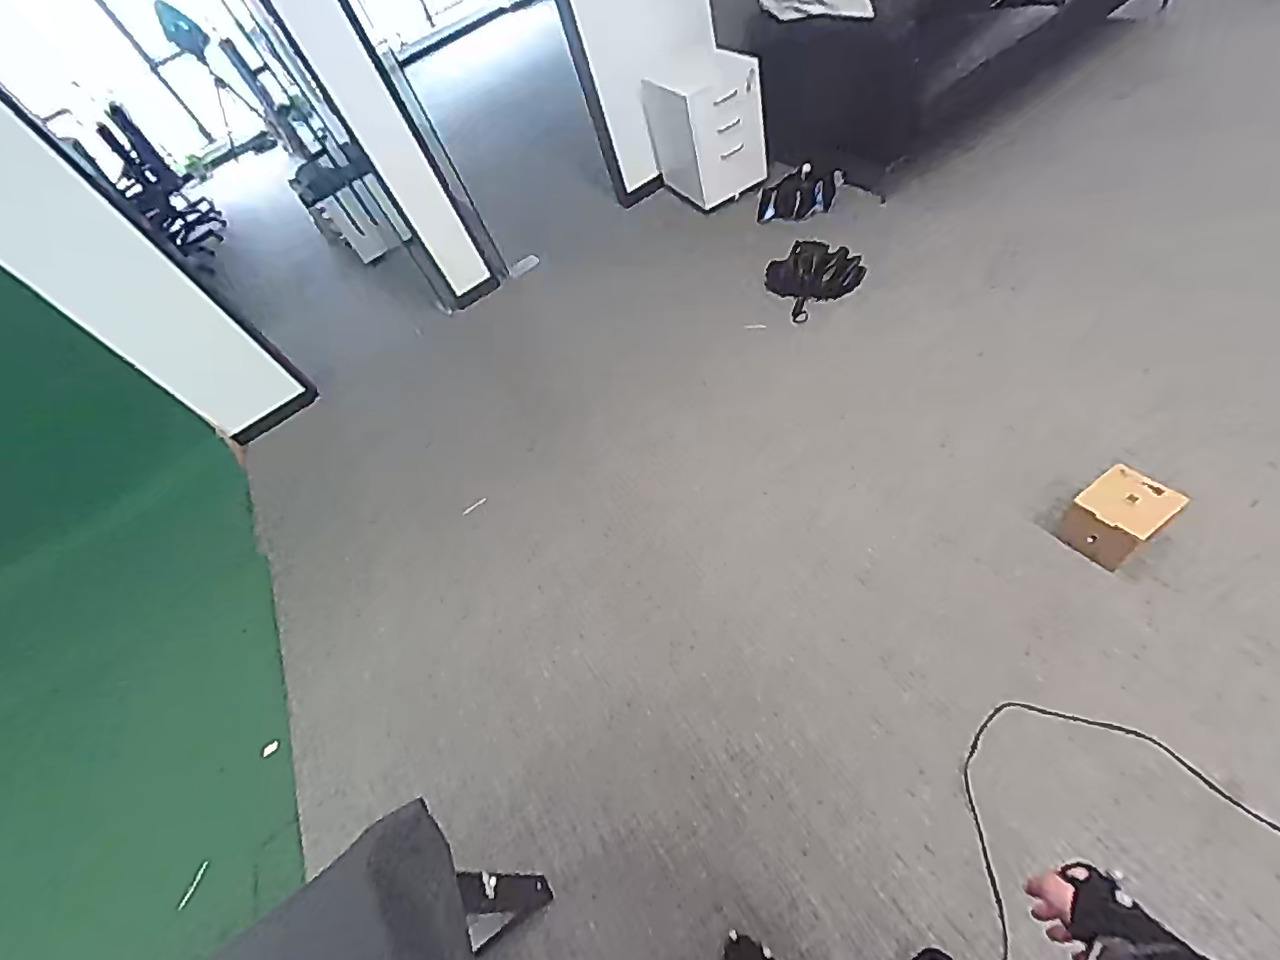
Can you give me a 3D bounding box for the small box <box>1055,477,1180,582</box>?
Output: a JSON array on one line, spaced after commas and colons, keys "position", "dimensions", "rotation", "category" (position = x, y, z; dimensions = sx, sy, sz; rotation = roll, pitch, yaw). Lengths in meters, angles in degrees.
[{"position": [1.233, 0.134, 1.415], "dimensions": [0.179, 0.176, 0.168], "rotation": [-35, 49, -9], "category": "small box"}]
